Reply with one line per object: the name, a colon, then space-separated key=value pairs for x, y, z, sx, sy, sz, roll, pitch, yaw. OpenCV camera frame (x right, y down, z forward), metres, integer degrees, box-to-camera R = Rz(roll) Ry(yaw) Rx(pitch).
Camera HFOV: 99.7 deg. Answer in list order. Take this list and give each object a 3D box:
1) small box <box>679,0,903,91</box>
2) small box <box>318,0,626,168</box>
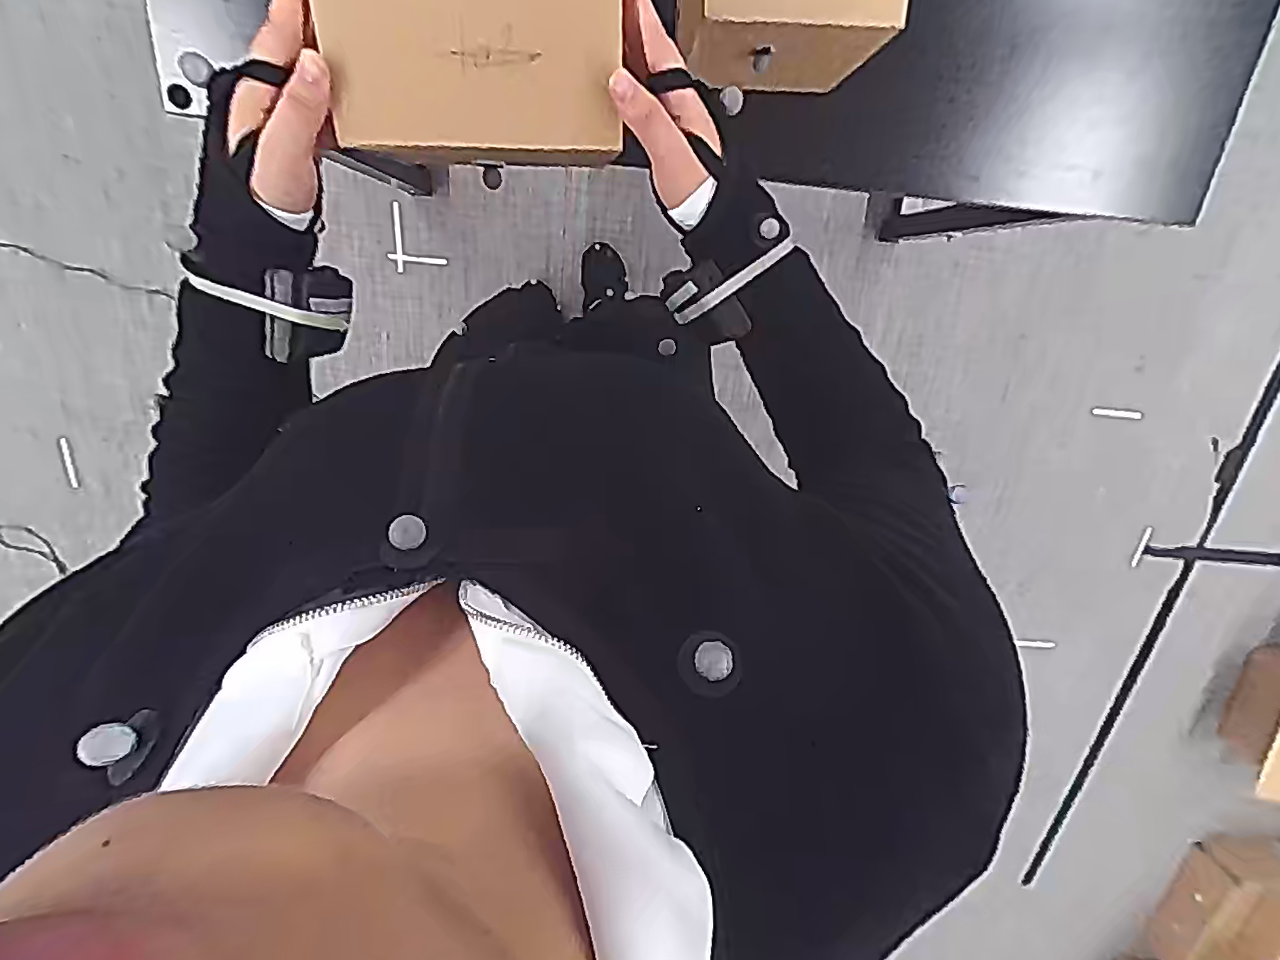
small box: x=0.131 y=-0.485 z=0.501 sx=0.179 sy=0.176 sz=0.168 roll=0 pitch=110 yaw=-3
small box: x=-0.098 y=-0.313 z=0.354 sx=0.168 sy=0.176 sz=0.179 roll=-3 pitch=117 yaw=-6
